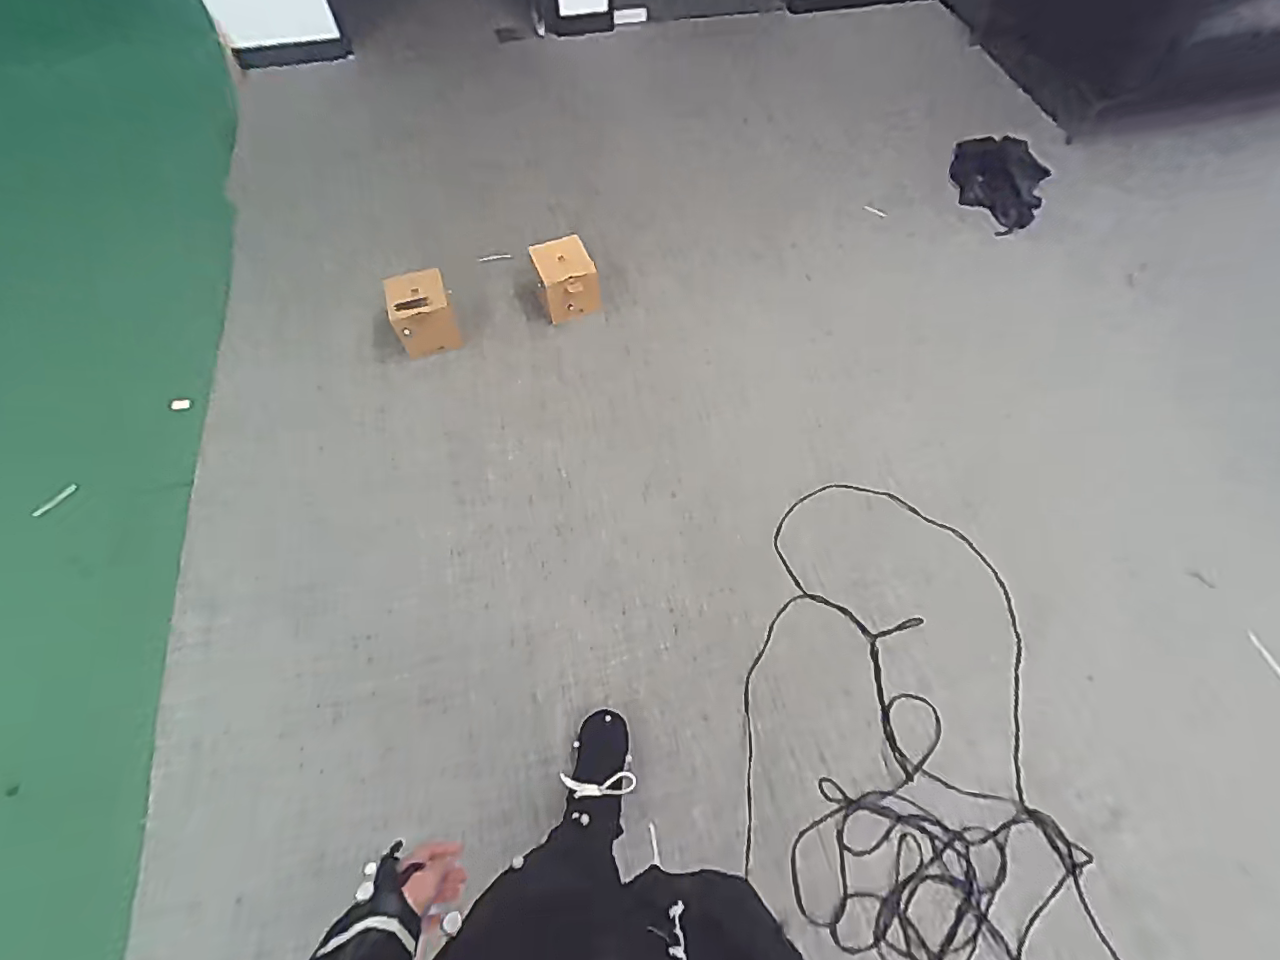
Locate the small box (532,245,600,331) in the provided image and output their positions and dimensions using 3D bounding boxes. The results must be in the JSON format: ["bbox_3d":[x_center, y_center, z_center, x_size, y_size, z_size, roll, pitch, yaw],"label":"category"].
[{"bbox_3d":[-0.234,-0.608,1.723,0.168,0.176,0.179,-20,65,-12],"label":"small box"}]
